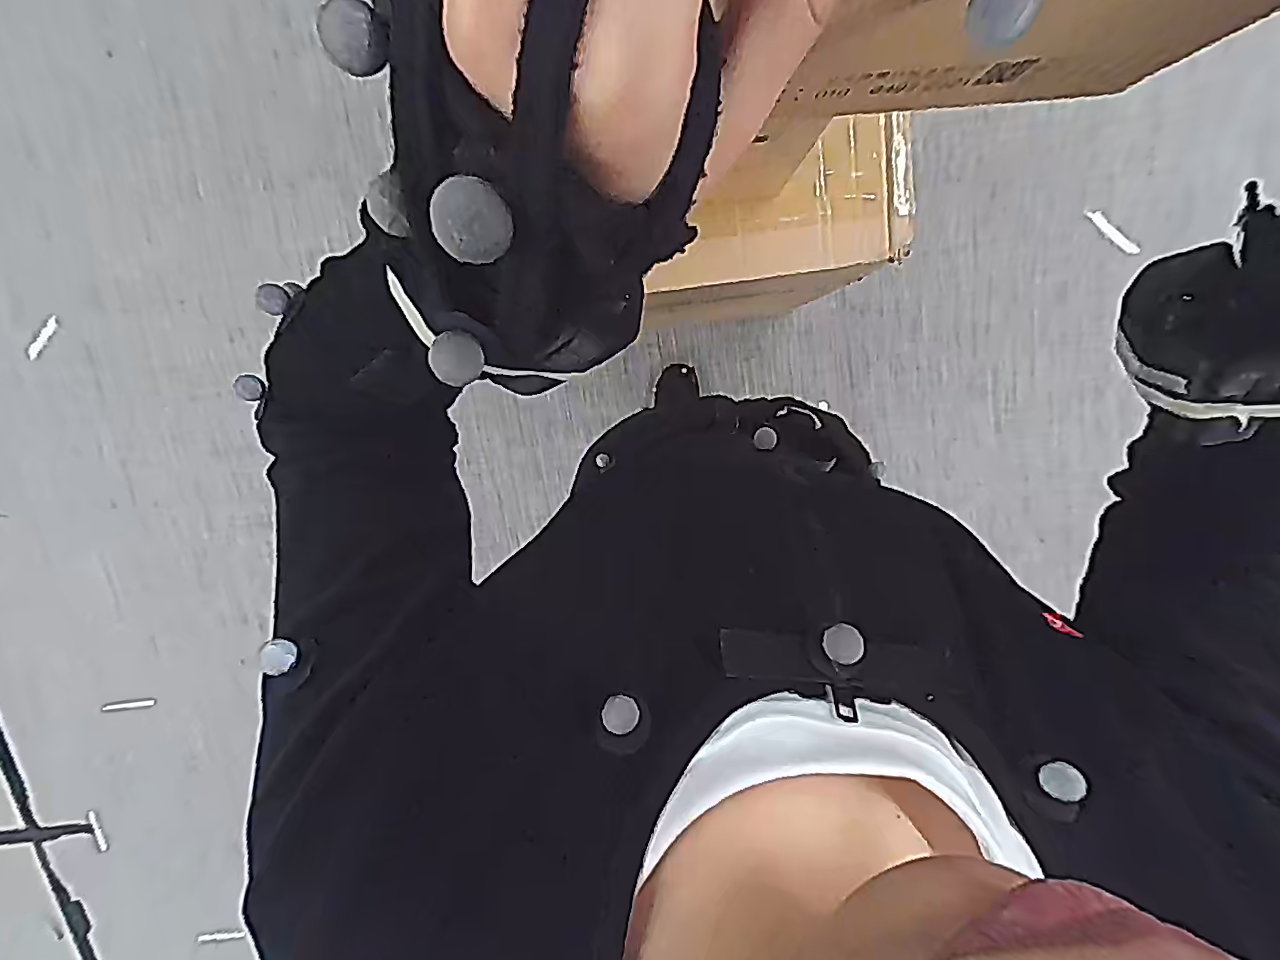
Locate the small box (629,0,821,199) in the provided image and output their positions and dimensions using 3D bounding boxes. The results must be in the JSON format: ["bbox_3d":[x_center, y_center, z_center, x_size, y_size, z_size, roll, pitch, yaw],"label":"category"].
[{"bbox_3d":[0.084,-0.426,0.593,0.179,0.176,0.168,-5,101,1],"label":"small box"}]

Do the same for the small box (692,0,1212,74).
[{"bbox_3d":[0.095,-0.210,0.103,0.168,0.176,0.179,-5,104,1],"label":"small box"}]
